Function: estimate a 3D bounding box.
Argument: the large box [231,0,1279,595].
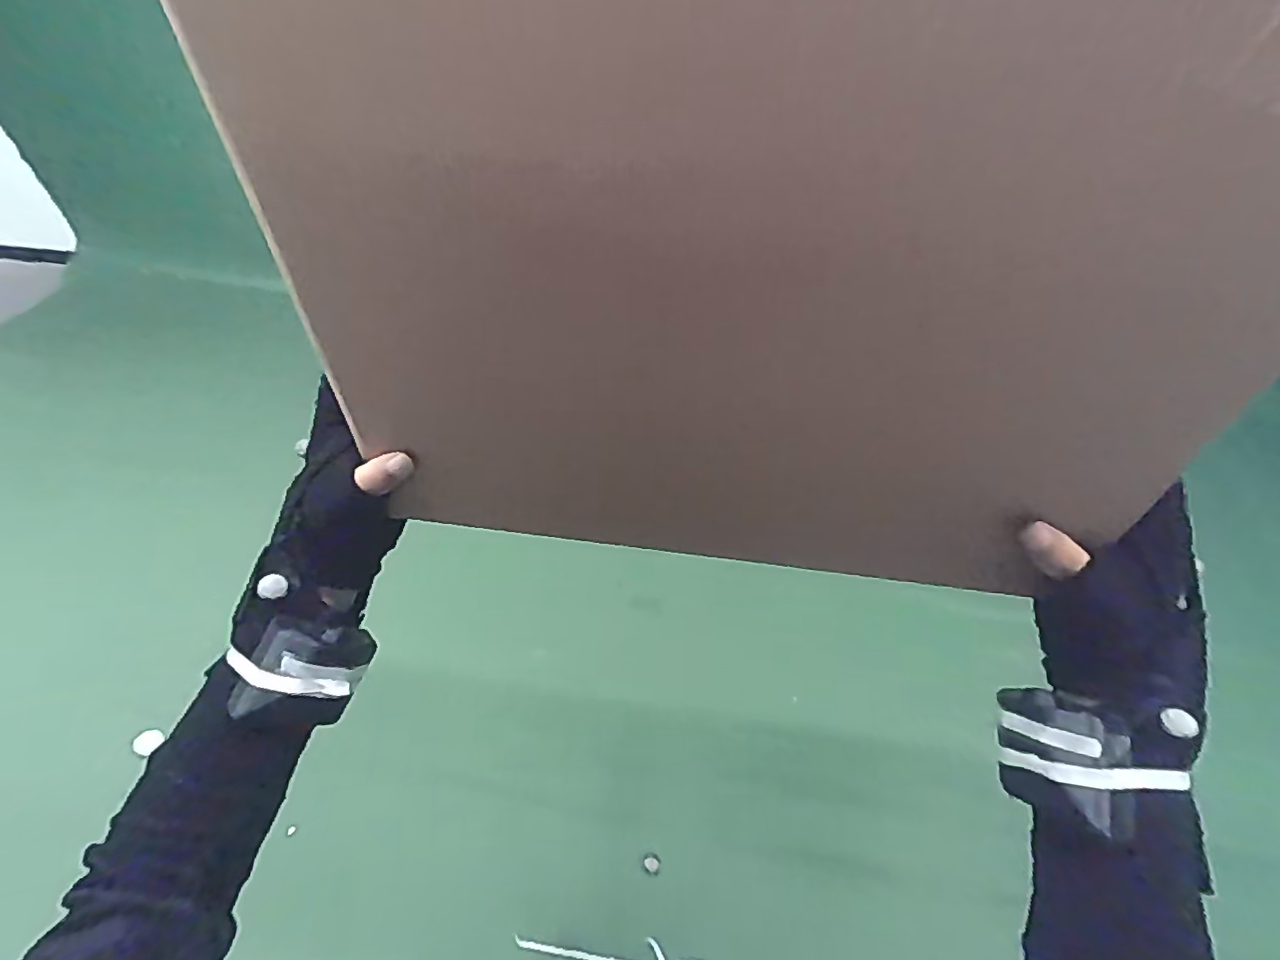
[{"bbox_3d":[0.074,-0.160,0.334,0.408,0.320,0.320,7,43,3],"label":"large box"}]
